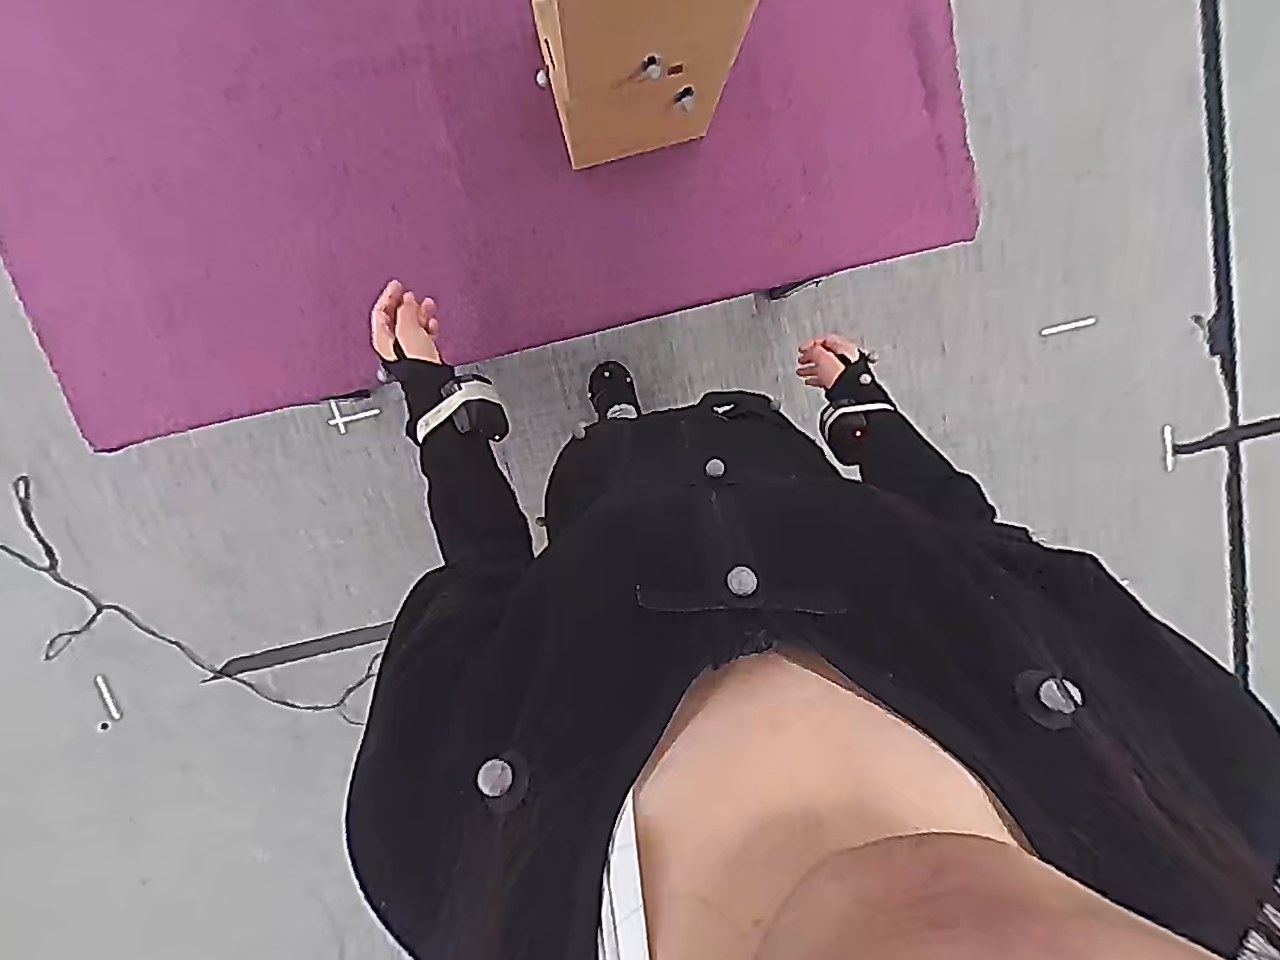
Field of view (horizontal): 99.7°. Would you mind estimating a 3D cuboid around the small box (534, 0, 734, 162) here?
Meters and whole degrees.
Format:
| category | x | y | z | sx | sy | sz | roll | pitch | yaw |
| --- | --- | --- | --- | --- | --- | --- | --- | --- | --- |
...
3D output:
| category | x | y | z | sx | sy | sz | roll | pitch | yaw |
| --- | --- | --- | --- | --- | --- | --- | --- | --- | --- |
| small box | -0.016 | -0.480 | 0.586 | 0.179 | 0.176 | 0.168 | -15 | 100 | 0 |
